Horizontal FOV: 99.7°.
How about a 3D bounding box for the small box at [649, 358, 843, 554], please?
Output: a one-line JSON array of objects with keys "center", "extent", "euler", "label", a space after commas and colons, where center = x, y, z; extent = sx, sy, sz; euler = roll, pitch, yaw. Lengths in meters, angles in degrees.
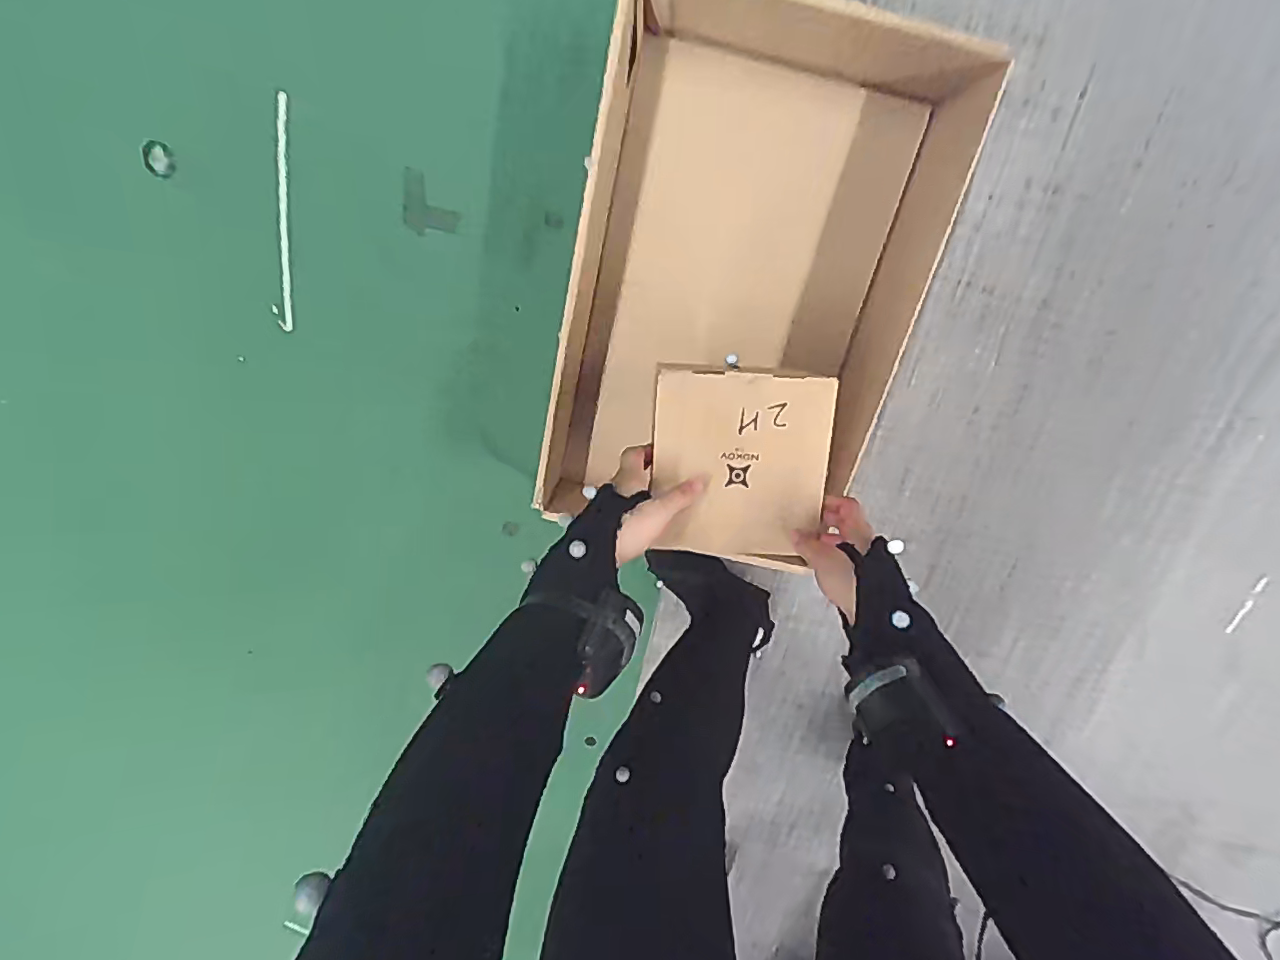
[{"center": [0.097, -0.036, 0.584], "extent": [0.168, 0.176, 0.179], "euler": [3, 104, -2], "label": "small box"}]
